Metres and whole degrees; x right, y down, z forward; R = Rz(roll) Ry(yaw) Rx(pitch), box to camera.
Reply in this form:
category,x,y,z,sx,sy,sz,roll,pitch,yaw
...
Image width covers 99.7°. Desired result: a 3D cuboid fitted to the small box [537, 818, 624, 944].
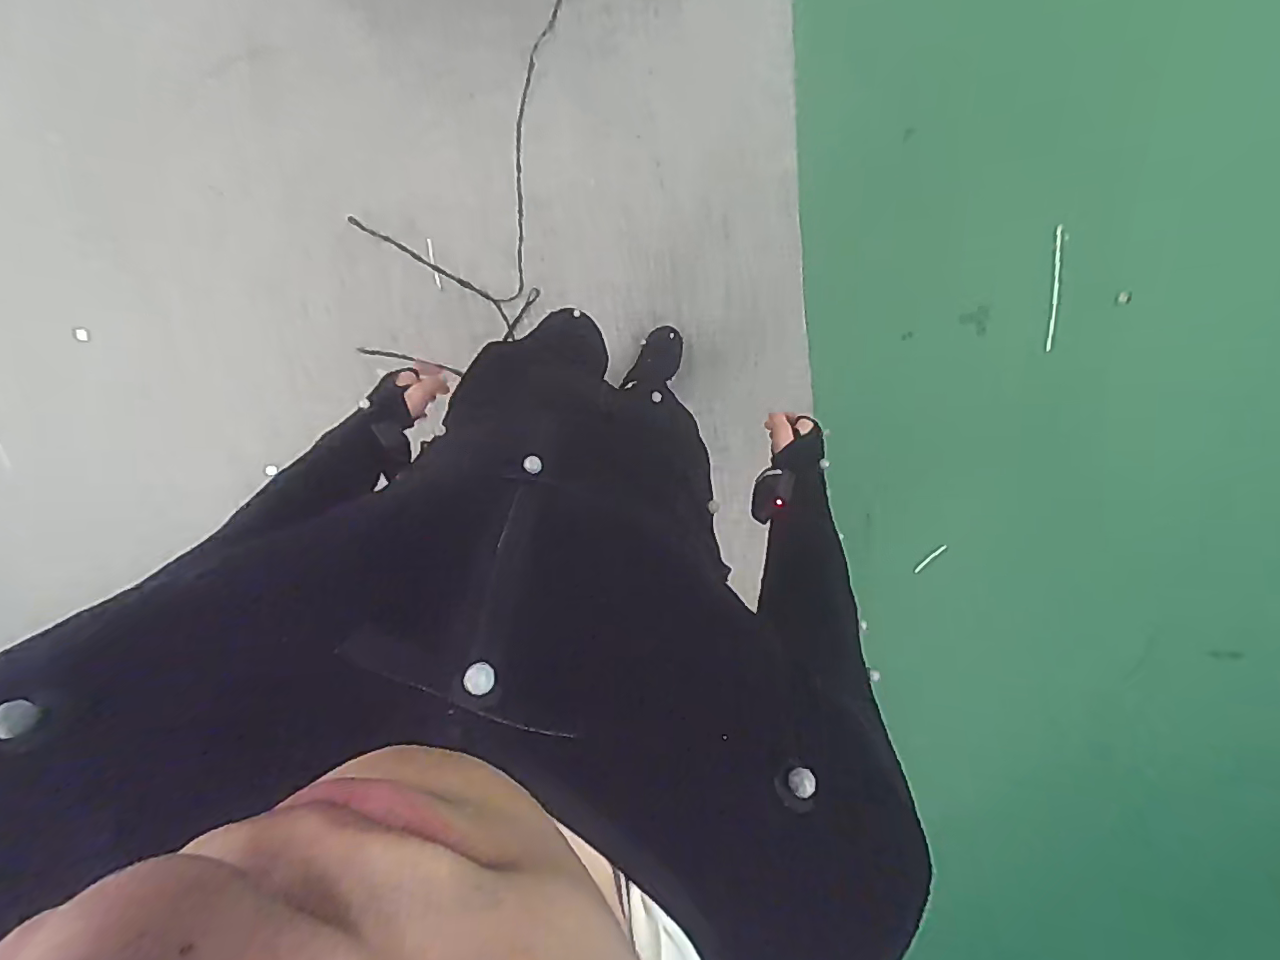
category,x,y,z,sx,sy,sz,roll,pitch,yaw
small box,-0.129,0.918,1.244,0.168,0.176,0.179,-3,108,3
